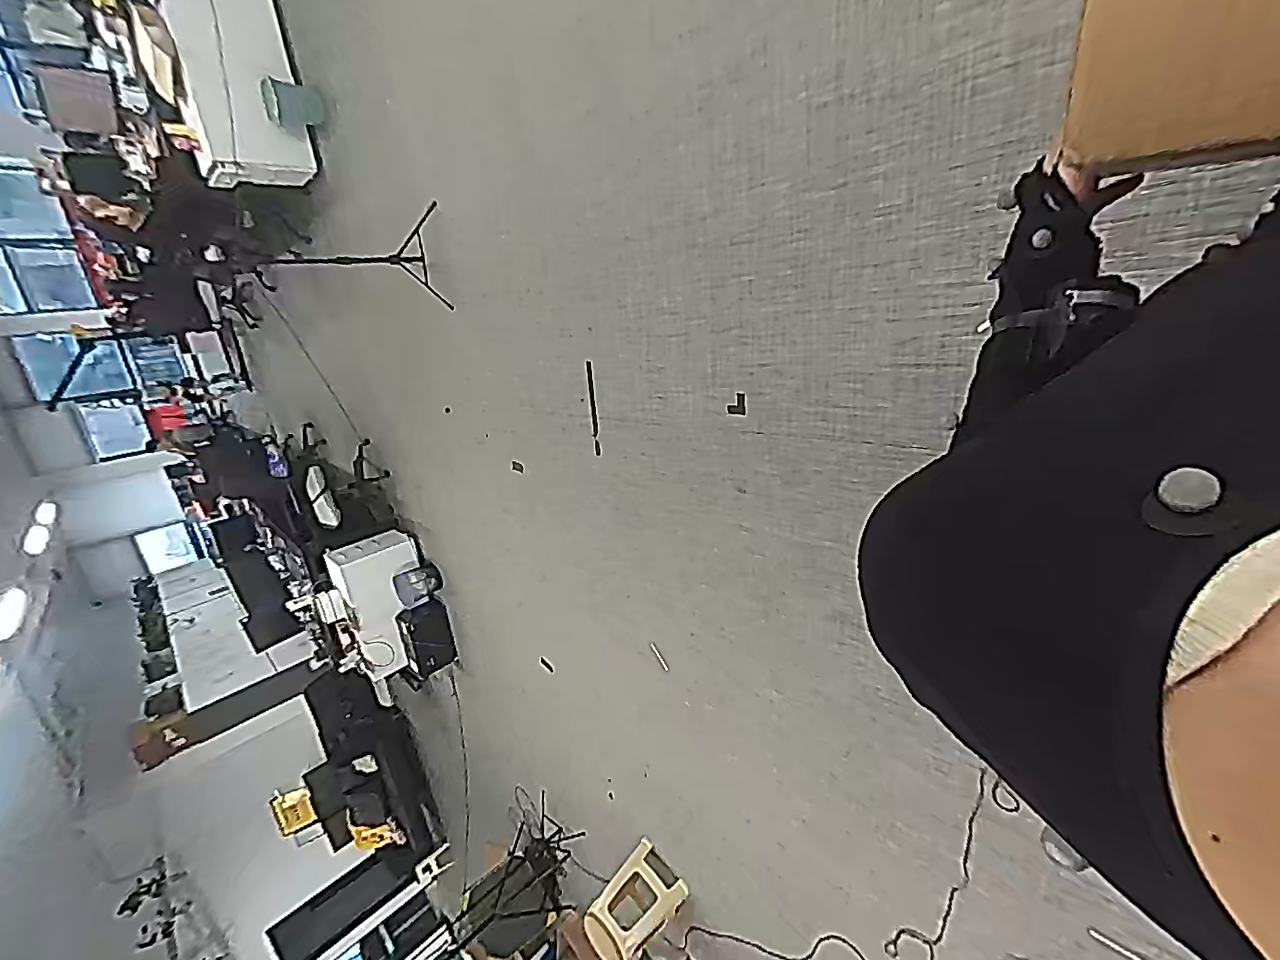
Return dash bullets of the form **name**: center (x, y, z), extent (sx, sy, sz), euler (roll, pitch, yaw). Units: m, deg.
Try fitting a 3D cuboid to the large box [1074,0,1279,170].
- **large box**: center (0.424, -0.315, 0.173), extent (0.408, 0.320, 0.320), euler (12, 120, 38)
